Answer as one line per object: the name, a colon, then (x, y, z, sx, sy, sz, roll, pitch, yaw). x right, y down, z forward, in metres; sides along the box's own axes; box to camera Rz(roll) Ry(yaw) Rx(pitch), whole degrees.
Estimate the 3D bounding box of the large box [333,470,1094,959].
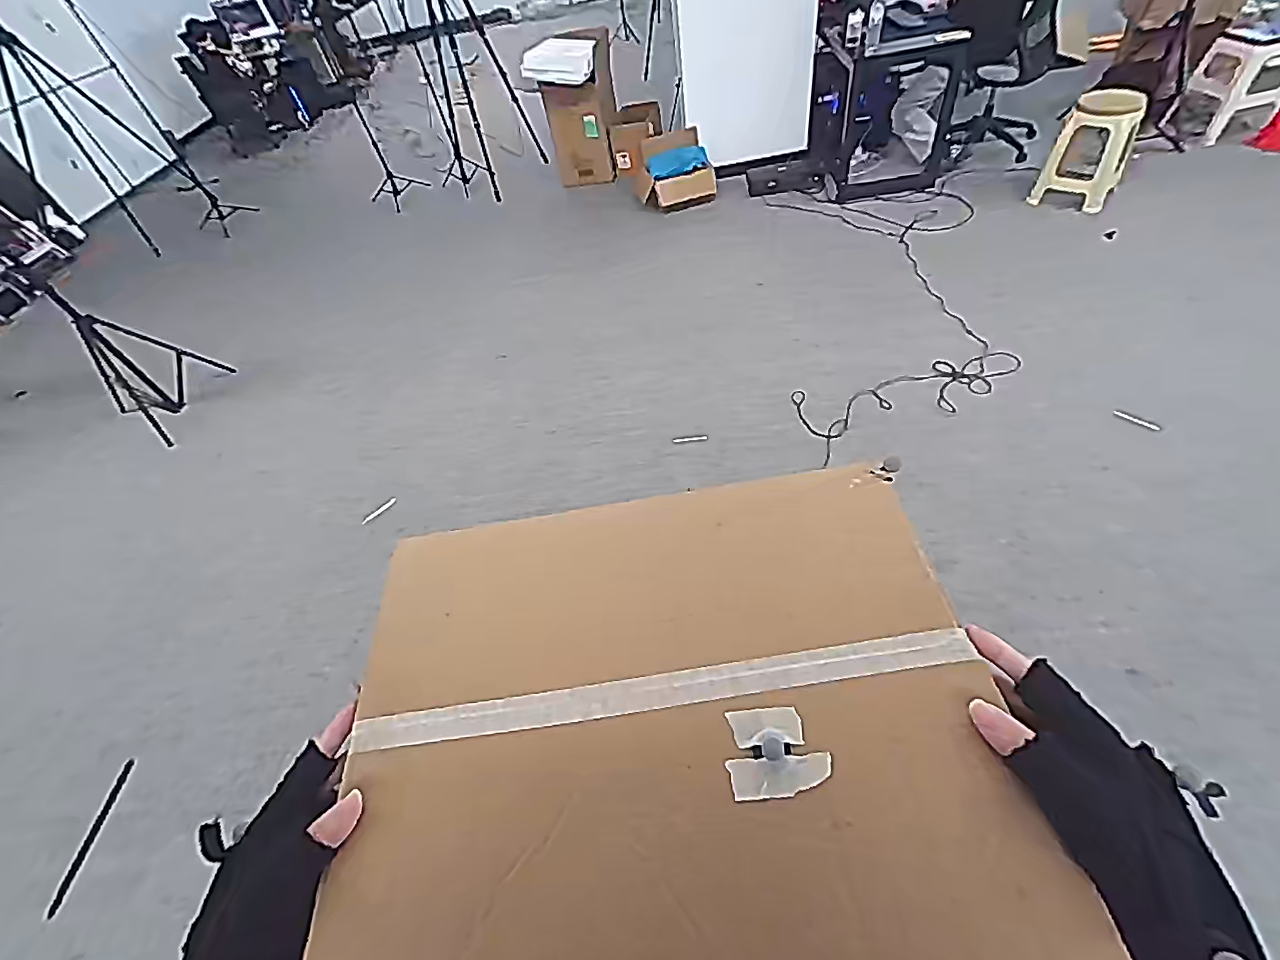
large box: (0.033, 0.234, 0.478, 0.408, 0.320, 0.320, -9, 51, 2)
